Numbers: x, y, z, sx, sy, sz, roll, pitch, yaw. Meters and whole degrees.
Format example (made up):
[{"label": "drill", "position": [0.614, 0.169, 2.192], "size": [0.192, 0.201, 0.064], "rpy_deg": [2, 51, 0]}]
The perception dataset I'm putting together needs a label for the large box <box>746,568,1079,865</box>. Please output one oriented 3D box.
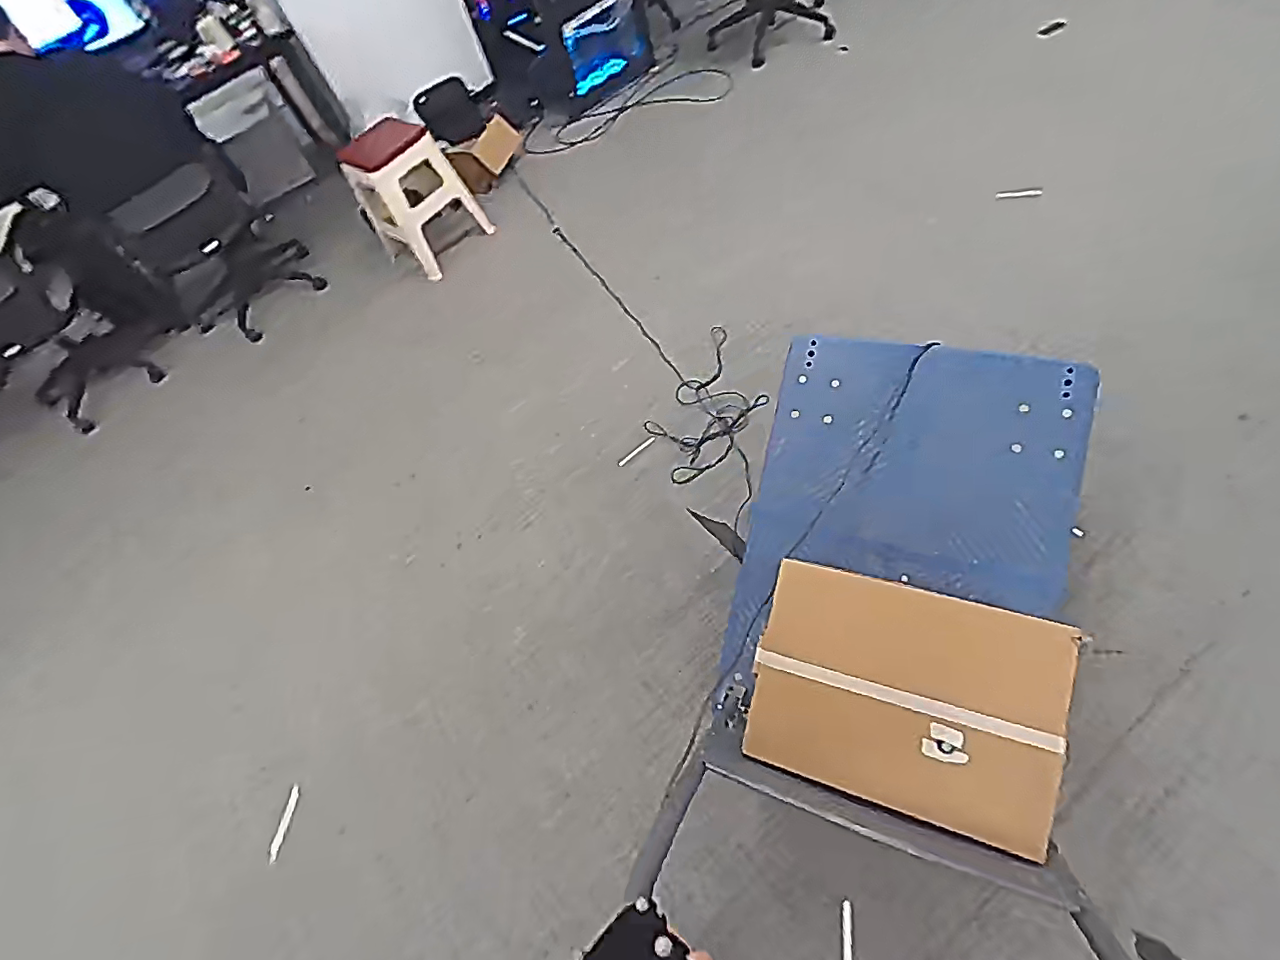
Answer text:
[{"label": "large box", "position": [0.420, 0.343, 0.919], "size": [0.408, 0.320, 0.320], "rpy_deg": [12, 86, 19]}]
